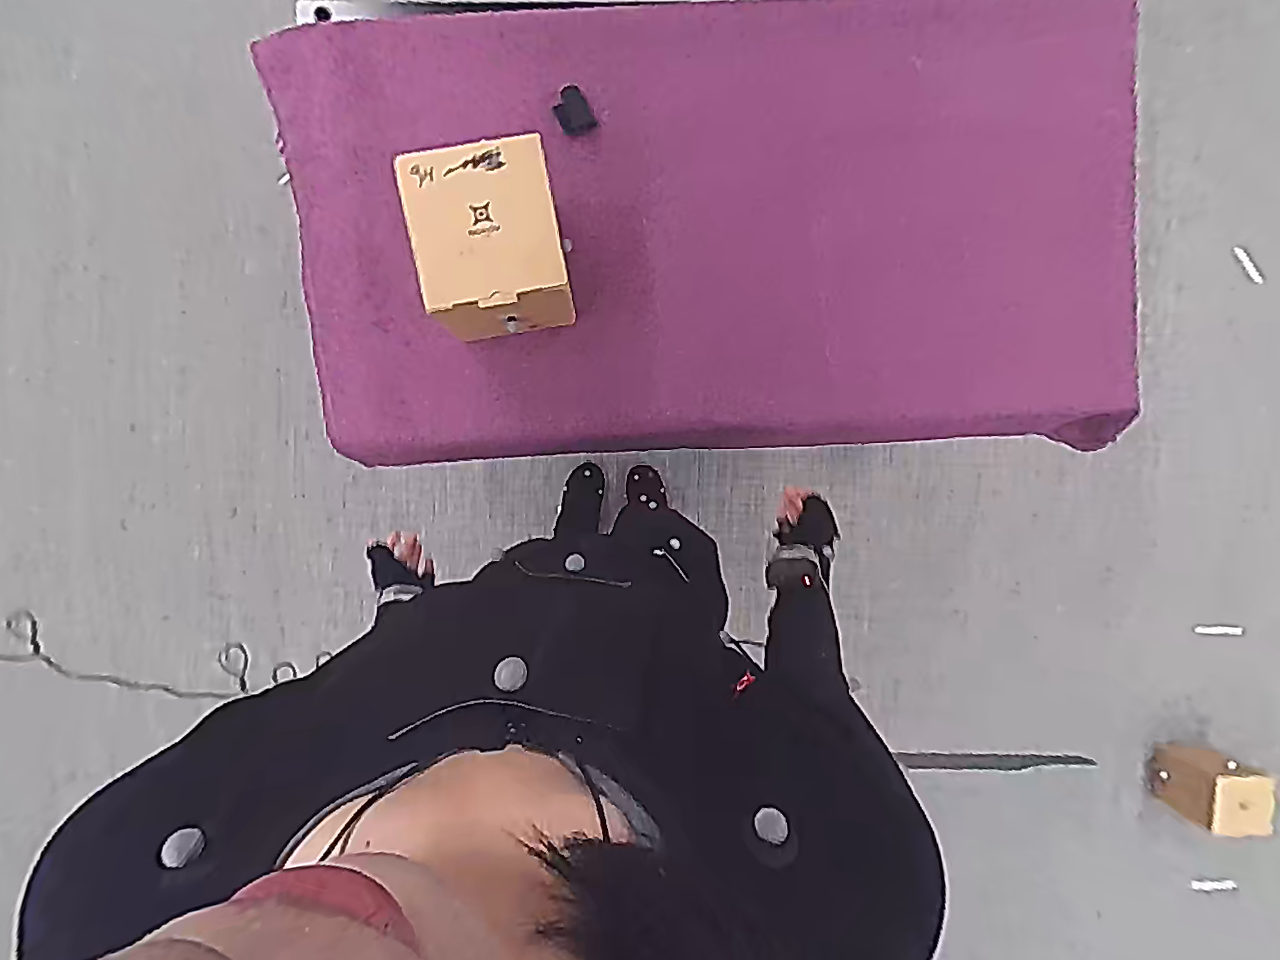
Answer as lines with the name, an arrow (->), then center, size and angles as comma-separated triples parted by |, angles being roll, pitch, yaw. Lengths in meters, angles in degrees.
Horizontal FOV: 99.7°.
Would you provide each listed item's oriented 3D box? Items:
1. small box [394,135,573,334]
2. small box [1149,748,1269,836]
small box -> -0.183, -0.292, 0.685 | 0.168, 0.176, 0.179 | -11, 93, -4
small box -> 1.645, 0.899, 1.570 | 0.179, 0.176, 0.168 | 1, 91, -3
